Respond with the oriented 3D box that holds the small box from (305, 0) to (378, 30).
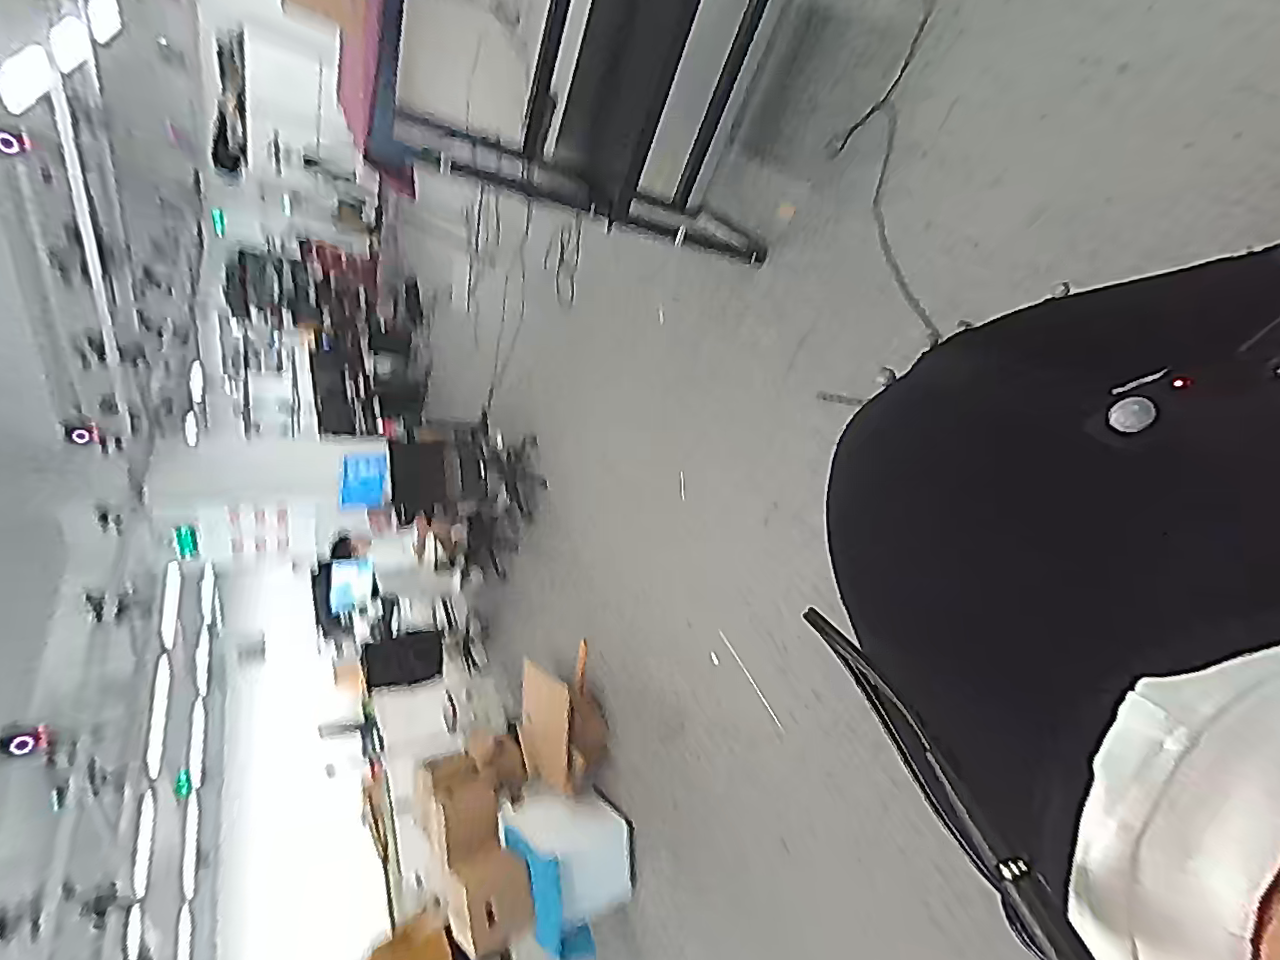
[{"bbox_3d":[-0.708,-1.201,1.256,0.168,0.176,0.179,59,134,38],"label":"small box"}]
